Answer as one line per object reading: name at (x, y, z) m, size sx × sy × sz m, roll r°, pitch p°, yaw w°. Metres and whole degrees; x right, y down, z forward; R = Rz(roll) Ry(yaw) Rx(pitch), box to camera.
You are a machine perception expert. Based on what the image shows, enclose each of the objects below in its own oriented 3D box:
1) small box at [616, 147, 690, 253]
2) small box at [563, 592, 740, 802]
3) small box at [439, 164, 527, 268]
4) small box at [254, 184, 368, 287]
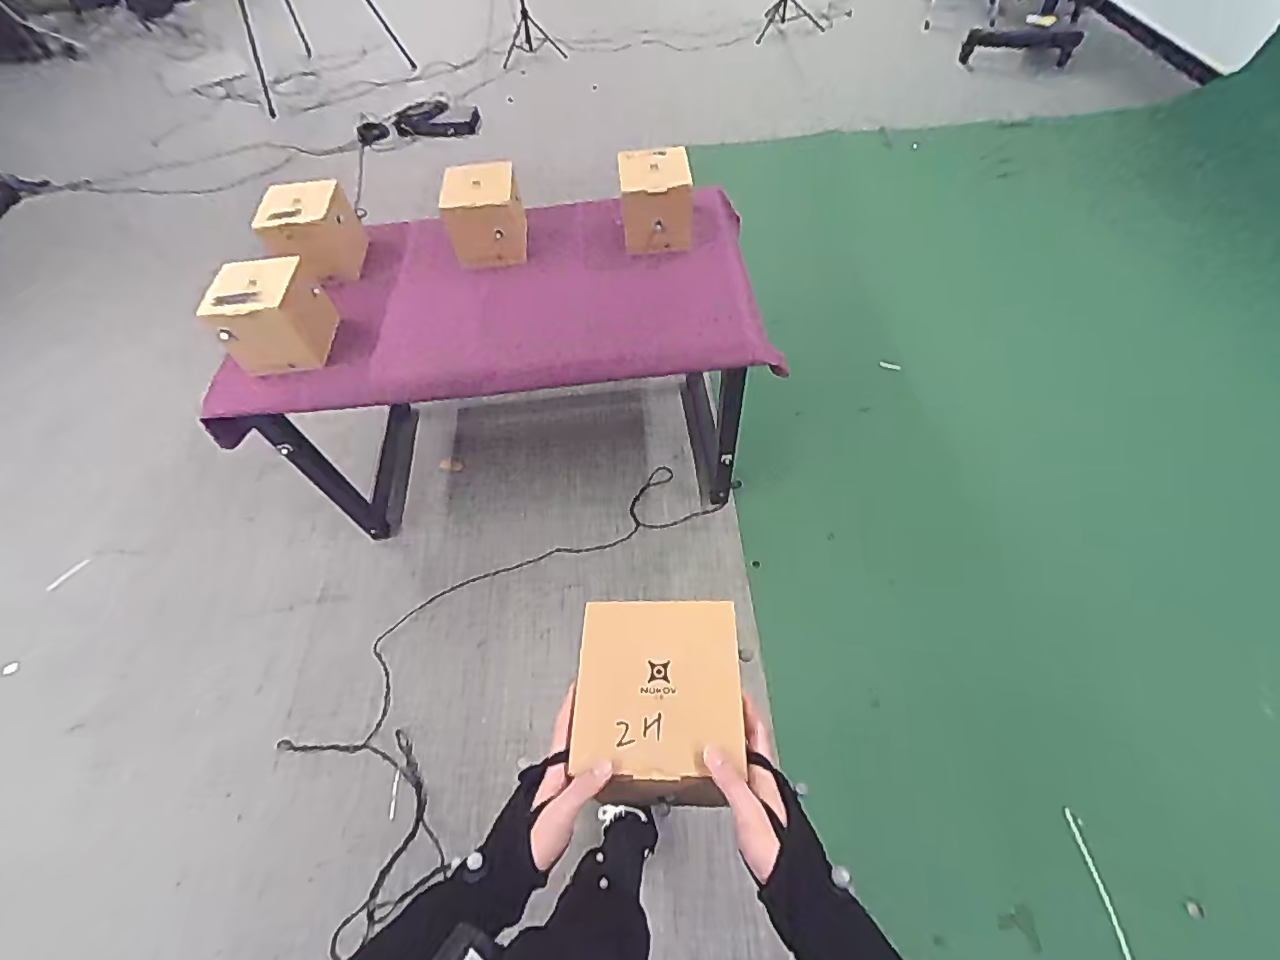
small box at (0.034, -0.679, 1.330) m, size 0.168 × 0.176 × 0.179 m, roll -5°, pitch 58°, yaw 1°
small box at (0.022, 0.243, 0.606) m, size 0.168 × 0.176 × 0.179 m, roll -3°, pitch 51°, yaw 7°
small box at (-0.381, -0.647, 1.343) m, size 0.168 × 0.176 × 0.179 m, roll -6°, pitch 57°, yaw 0°
small box at (-0.802, -0.597, 1.340) m, size 0.168 × 0.176 × 0.179 m, roll -7°, pitch 57°, yaw -1°
